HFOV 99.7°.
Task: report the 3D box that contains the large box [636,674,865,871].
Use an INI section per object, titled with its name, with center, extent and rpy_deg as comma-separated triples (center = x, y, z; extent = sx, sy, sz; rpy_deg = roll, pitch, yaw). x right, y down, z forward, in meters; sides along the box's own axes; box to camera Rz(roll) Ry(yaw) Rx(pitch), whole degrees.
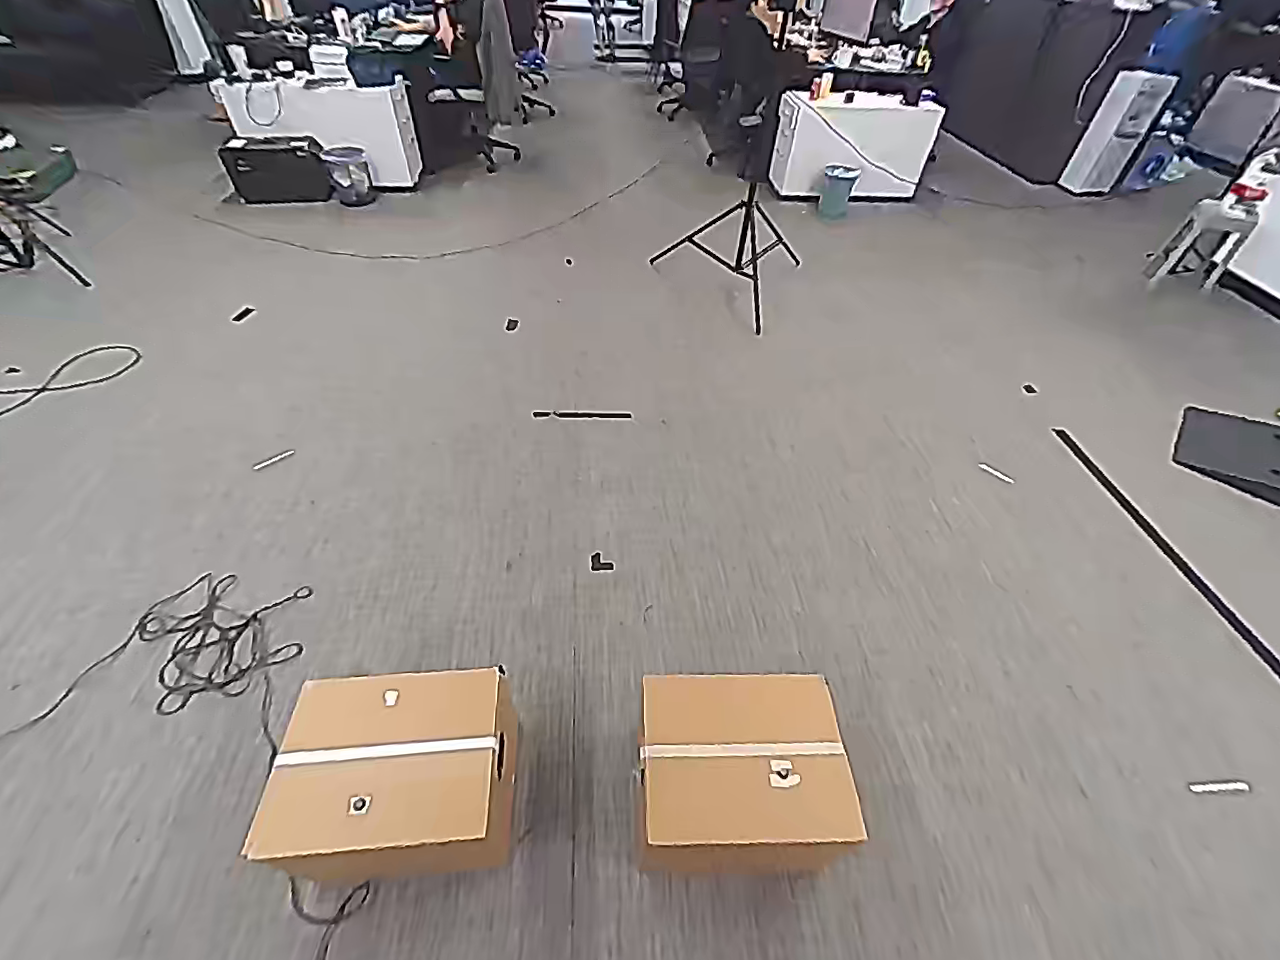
[large box]
center = 0.204, 0.642, 1.190
extent = 0.408, 0.320, 0.320
rpy_deg = 1, 47, -3
